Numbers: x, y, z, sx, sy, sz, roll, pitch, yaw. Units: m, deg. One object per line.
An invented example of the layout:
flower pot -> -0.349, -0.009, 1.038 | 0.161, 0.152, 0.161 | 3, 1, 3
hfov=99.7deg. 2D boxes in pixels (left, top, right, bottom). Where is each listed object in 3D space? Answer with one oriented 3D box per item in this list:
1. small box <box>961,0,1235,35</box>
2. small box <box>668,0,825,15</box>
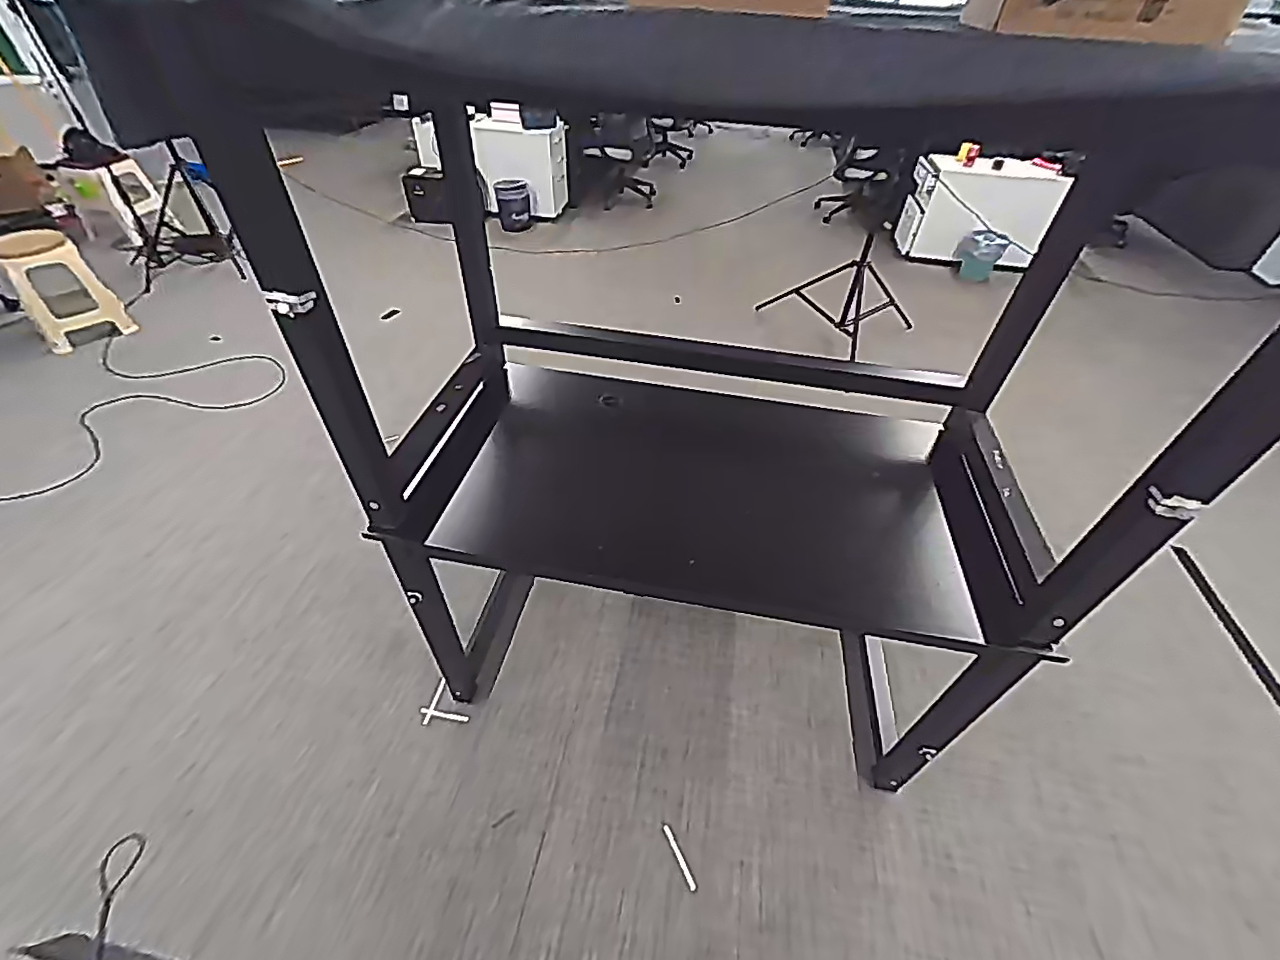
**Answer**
small box -> 0.385, -0.464, 0.426 | 0.168, 0.176, 0.179 | 12, 42, 9
small box -> 0.090, -0.508, 0.453 | 0.168, 0.176, 0.179 | 9, 42, 7
